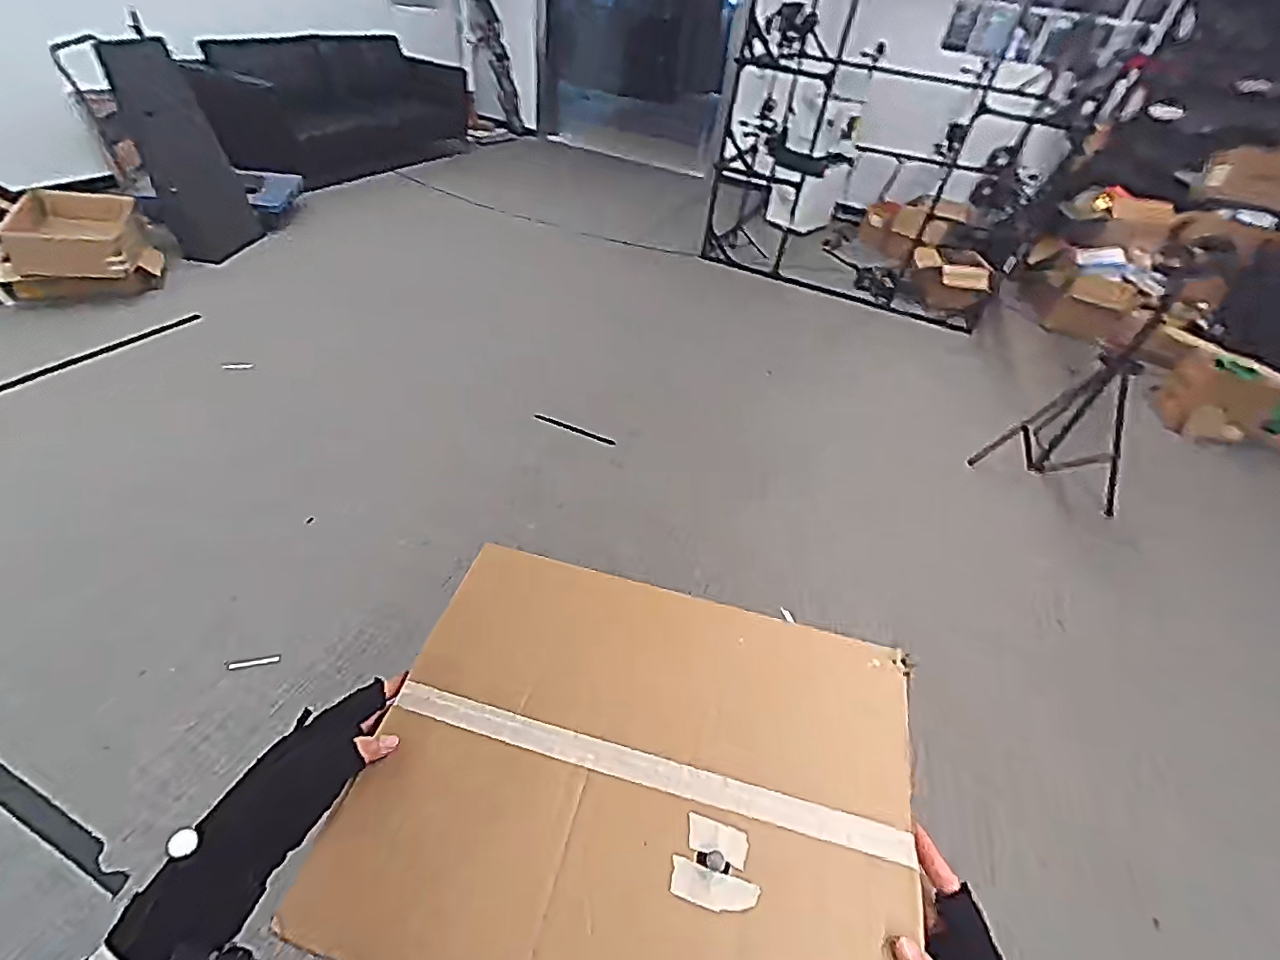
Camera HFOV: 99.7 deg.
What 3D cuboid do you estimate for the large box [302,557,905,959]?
[{"bbox_3d":[-0.007,0.326,0.539,0.408,0.320,0.320,13,49,8],"label":"large box"}]
